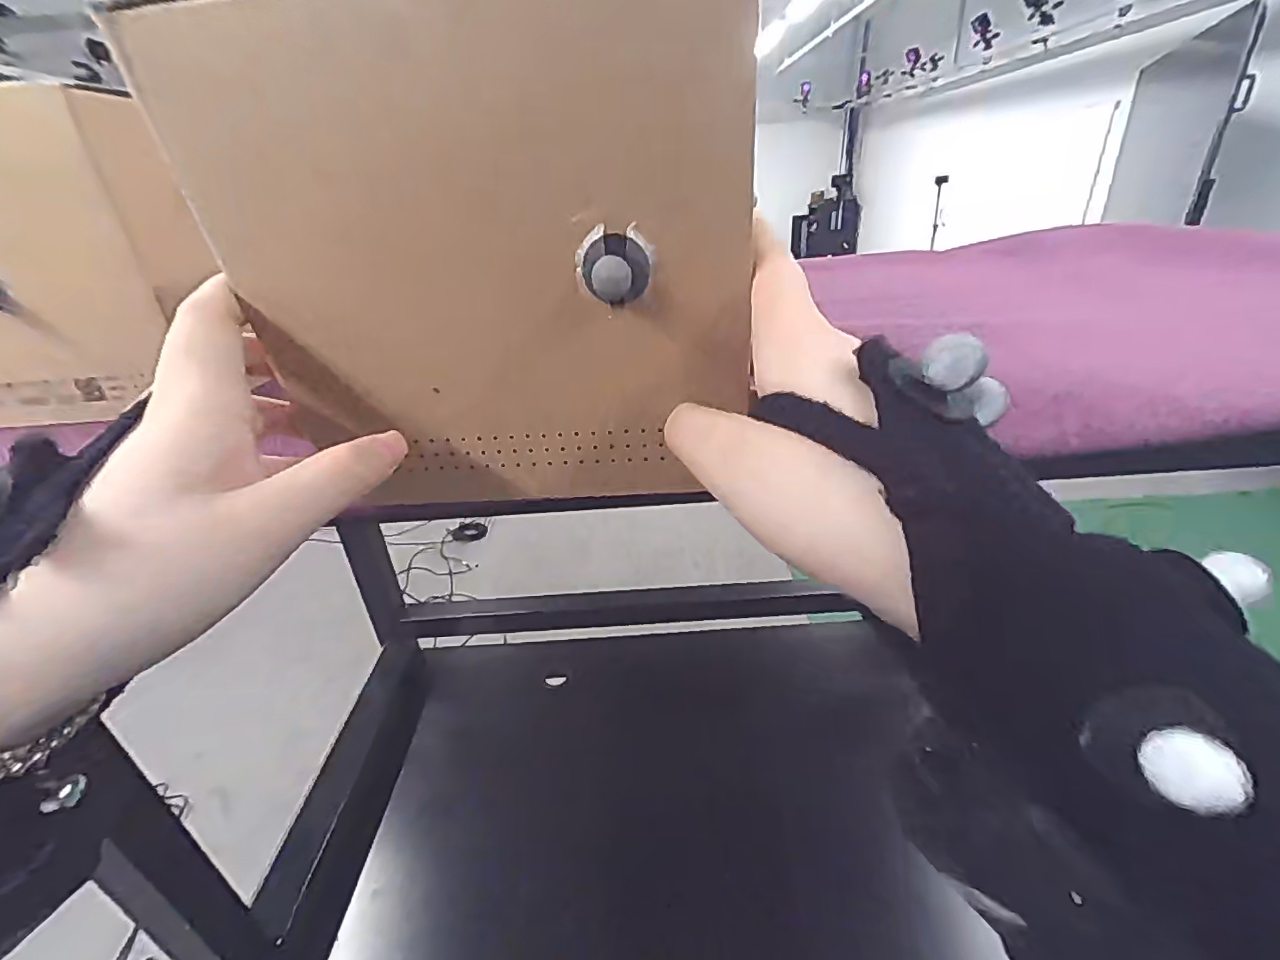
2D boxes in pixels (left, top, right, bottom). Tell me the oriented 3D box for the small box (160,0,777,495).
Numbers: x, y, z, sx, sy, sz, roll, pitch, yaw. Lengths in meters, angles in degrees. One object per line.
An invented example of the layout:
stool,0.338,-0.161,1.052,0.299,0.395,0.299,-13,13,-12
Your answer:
small box,-0.040,-0.106,0.255,0.179,0.176,0.168,-3,33,5

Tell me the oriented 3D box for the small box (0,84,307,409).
small box,-0.342,-0.151,0.371,0.168,0.176,0.179,-3,28,-2
